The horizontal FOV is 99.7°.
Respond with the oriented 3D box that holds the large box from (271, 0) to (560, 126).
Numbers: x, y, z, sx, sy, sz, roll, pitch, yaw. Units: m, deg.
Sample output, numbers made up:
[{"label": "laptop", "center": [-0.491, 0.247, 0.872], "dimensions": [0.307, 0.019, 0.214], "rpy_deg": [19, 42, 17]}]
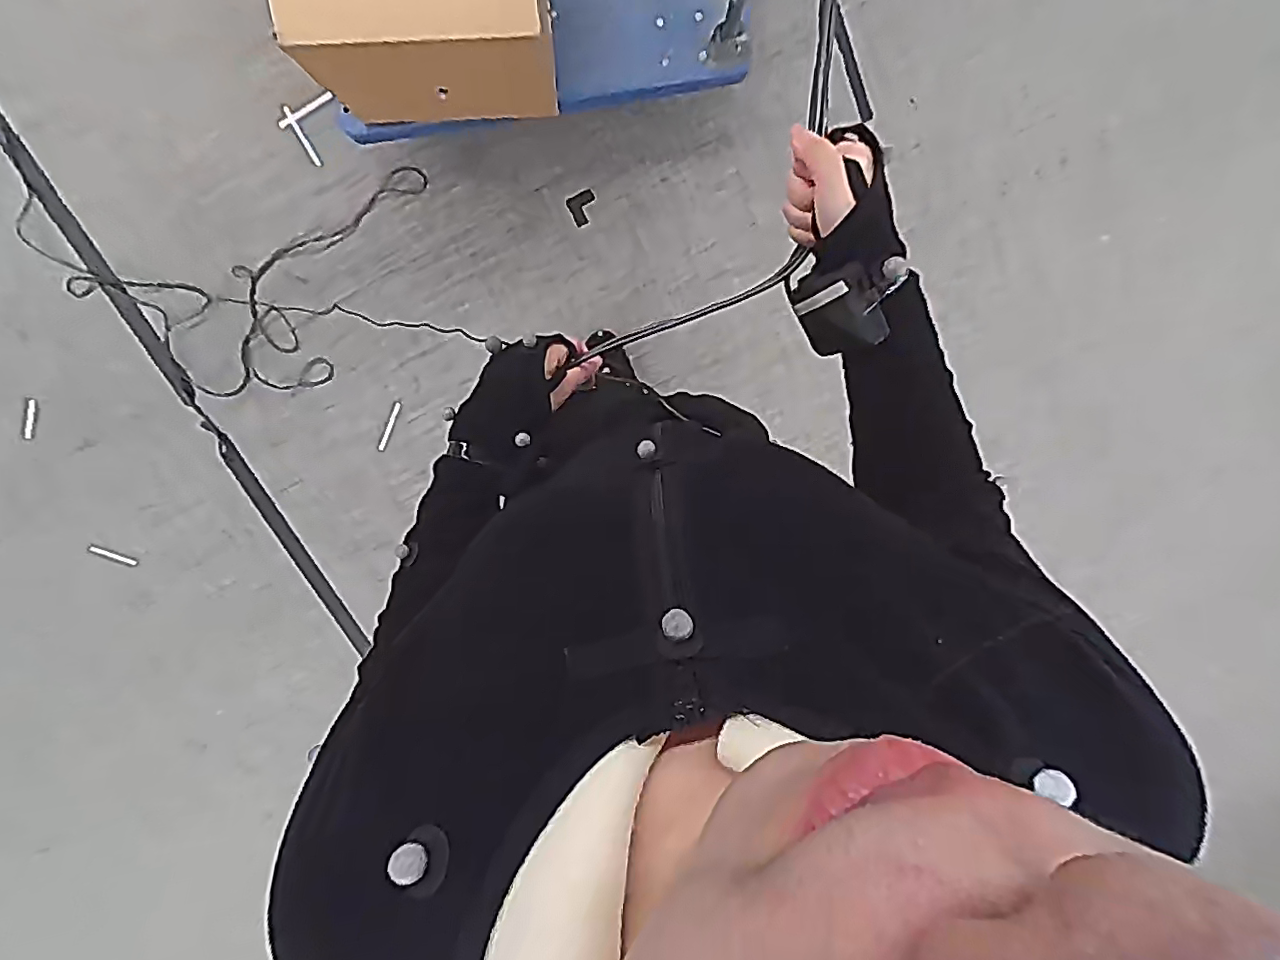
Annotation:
[{"label": "large box", "center": [-0.367, -0.850, 0.936], "dimensions": [0.408, 0.320, 0.320], "rpy_deg": [-4, 104, -2]}]
